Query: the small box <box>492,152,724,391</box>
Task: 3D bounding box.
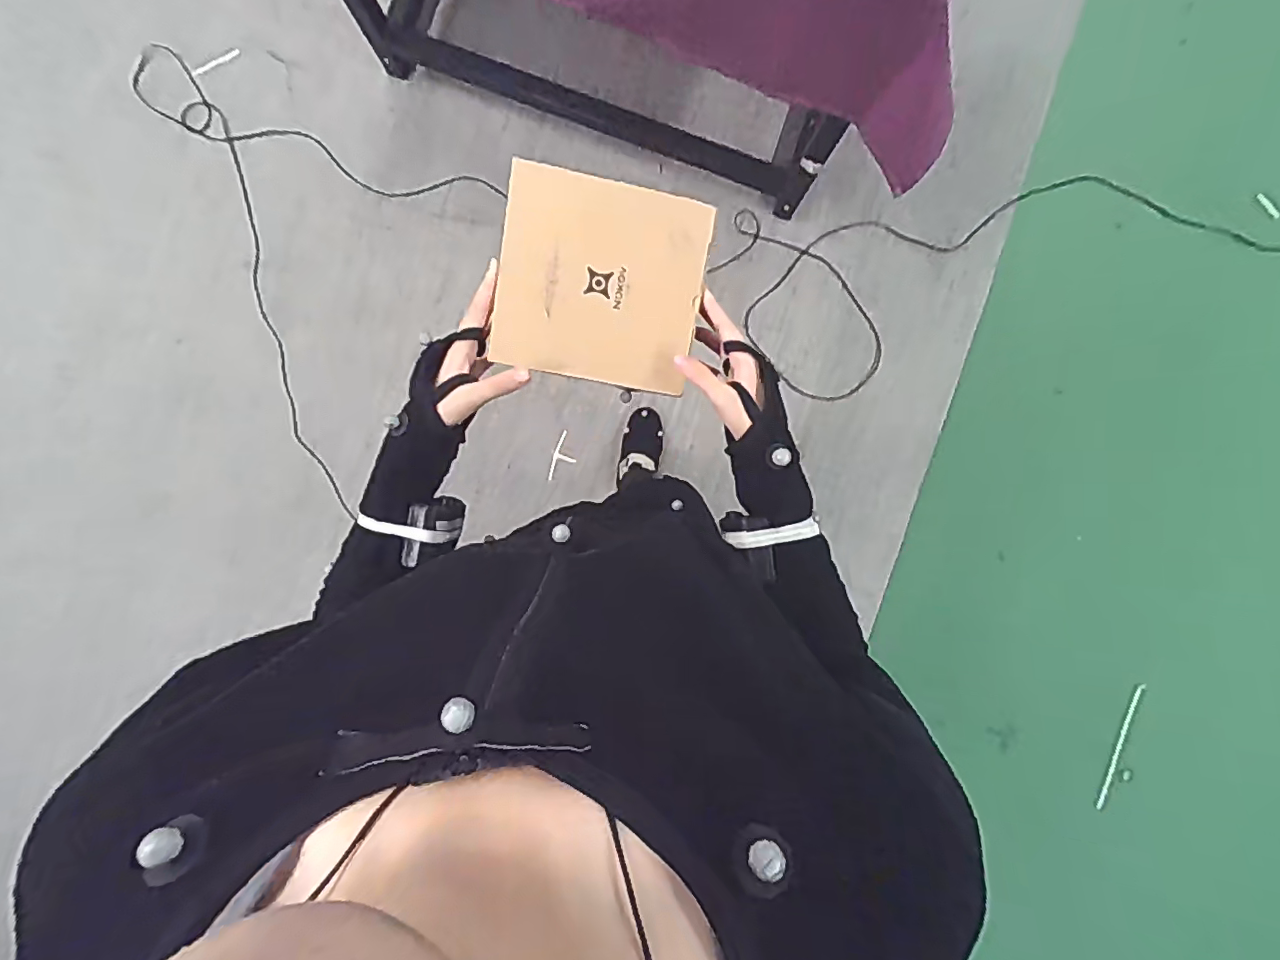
[{"bbox_3d":[-0.036,-0.187,0.539,0.179,0.176,0.168,10,98,-8],"label":"small box"}]
